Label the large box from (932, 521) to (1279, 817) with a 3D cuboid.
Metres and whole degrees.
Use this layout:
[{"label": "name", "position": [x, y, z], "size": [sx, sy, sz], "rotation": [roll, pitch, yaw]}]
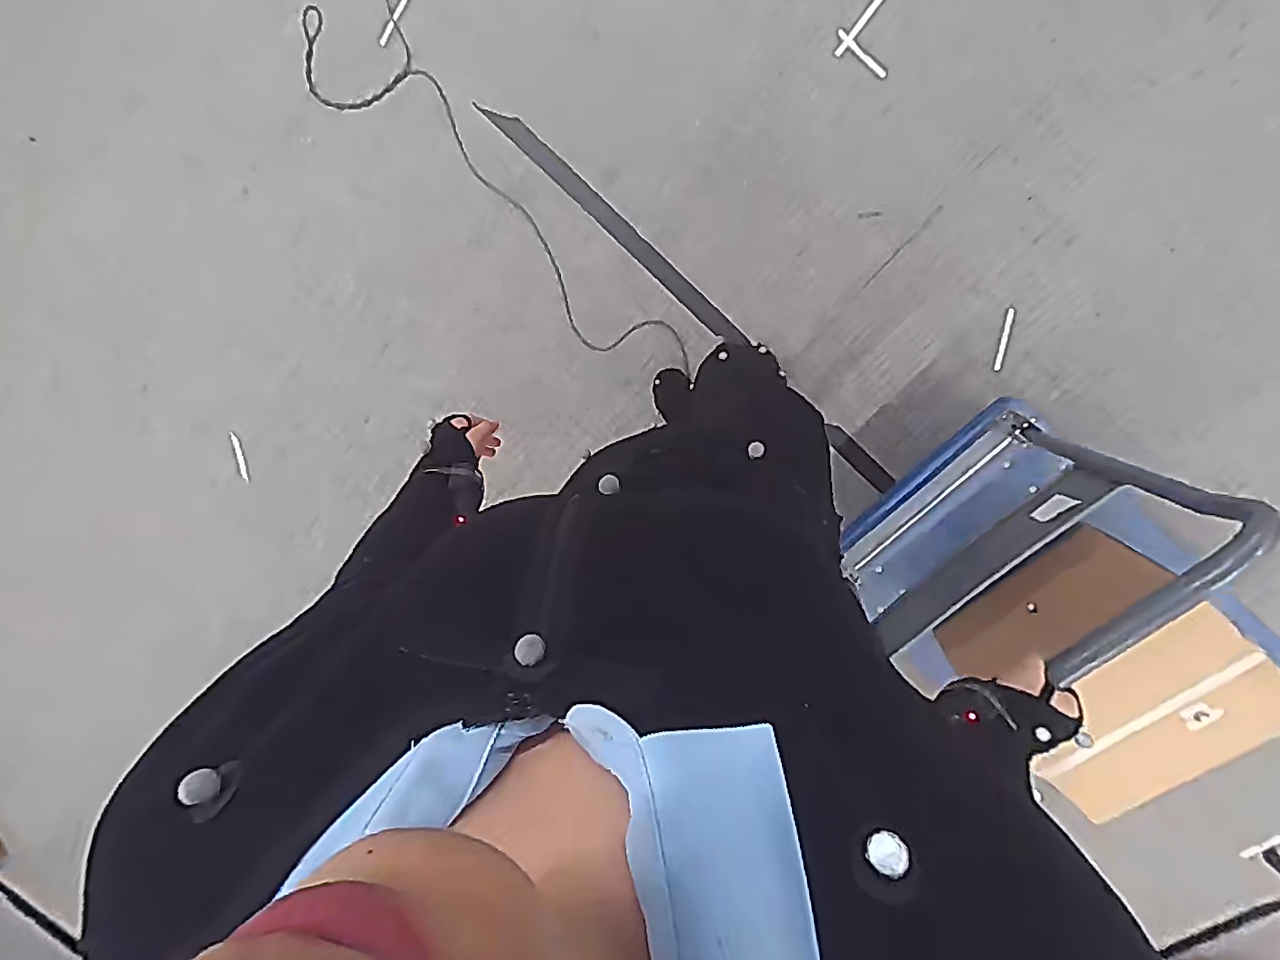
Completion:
[{"label": "large box", "position": [0.897, 0.357, 1.086], "size": [0.320, 0.320, 0.408], "rotation": [43, 108, -3]}]
